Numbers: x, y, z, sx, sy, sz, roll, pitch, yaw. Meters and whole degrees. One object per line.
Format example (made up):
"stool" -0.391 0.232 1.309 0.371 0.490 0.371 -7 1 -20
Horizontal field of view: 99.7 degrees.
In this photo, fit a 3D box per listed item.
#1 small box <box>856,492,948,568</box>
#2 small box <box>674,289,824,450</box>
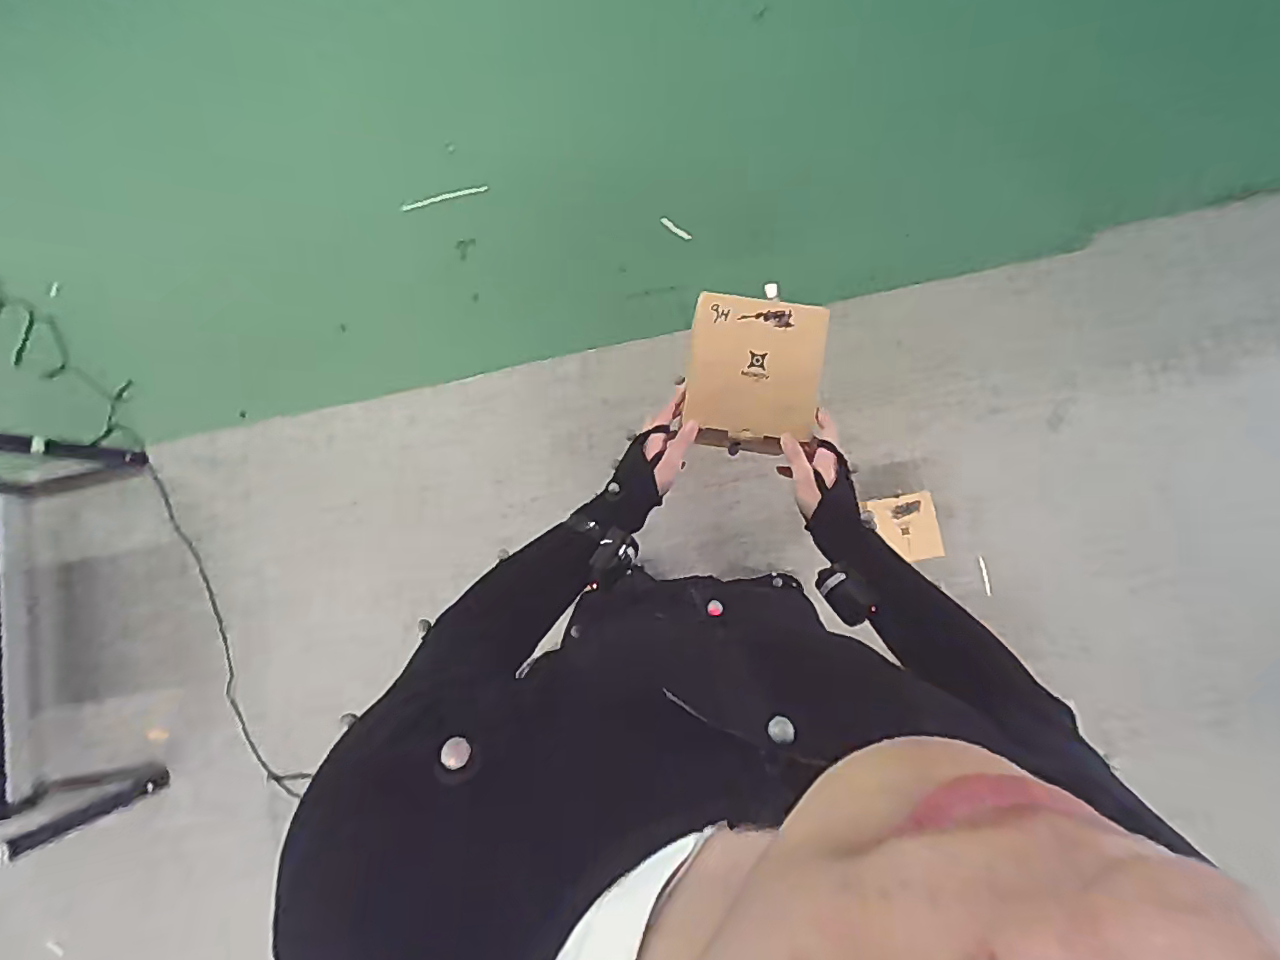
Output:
"small box" 0.706 0.139 1.478 0.168 0.176 0.179 -11 83 7
"small box" 0.139 -0.140 0.750 0.168 0.176 0.179 8 88 1
